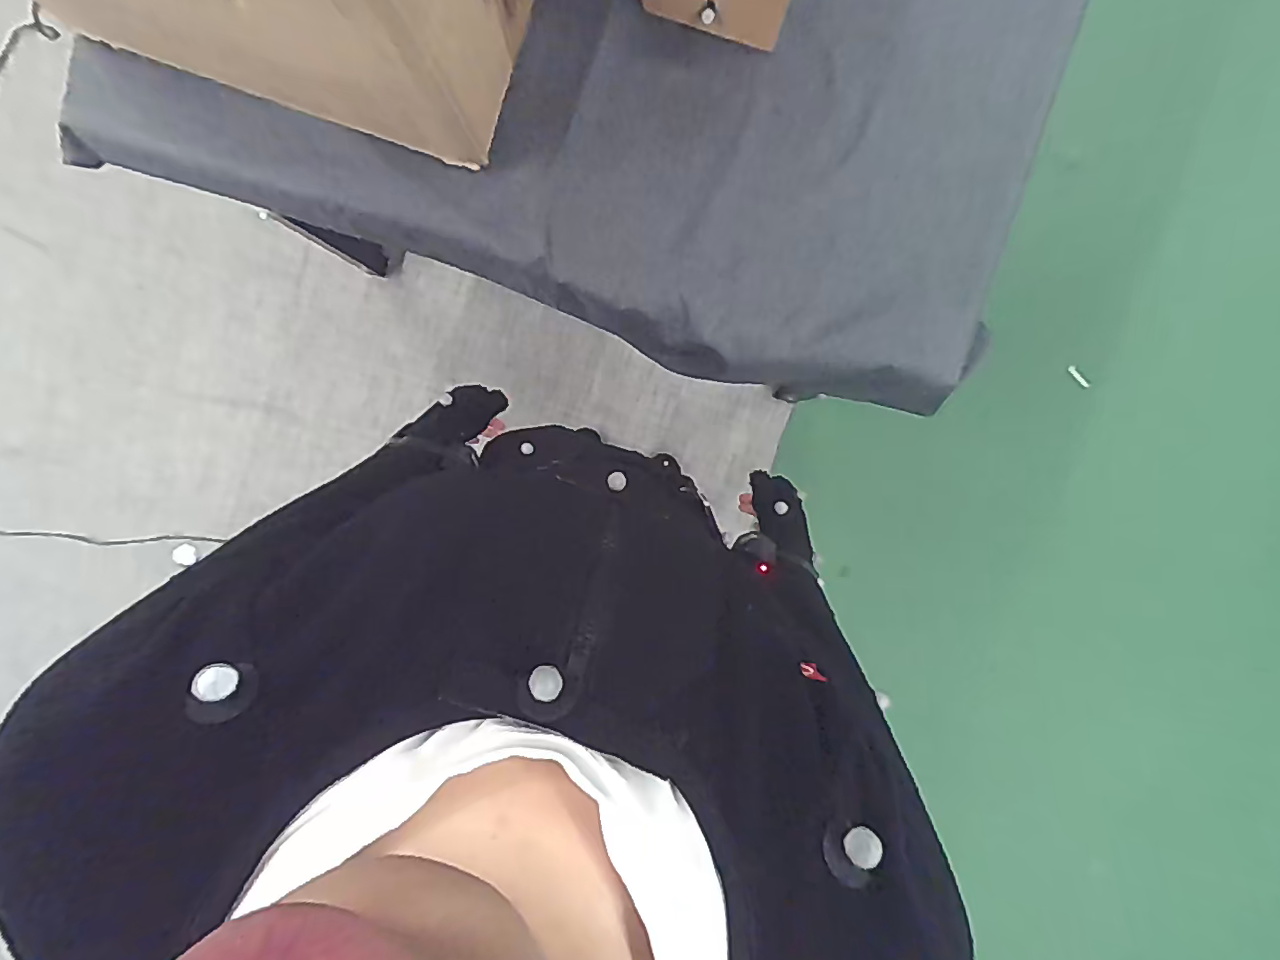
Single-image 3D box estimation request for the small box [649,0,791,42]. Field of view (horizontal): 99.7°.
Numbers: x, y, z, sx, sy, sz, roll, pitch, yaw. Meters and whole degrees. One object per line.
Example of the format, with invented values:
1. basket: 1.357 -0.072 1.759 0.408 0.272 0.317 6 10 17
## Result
1. small box: 0.113 -0.642 0.600 0.179 0.176 0.168 17 95 -1
